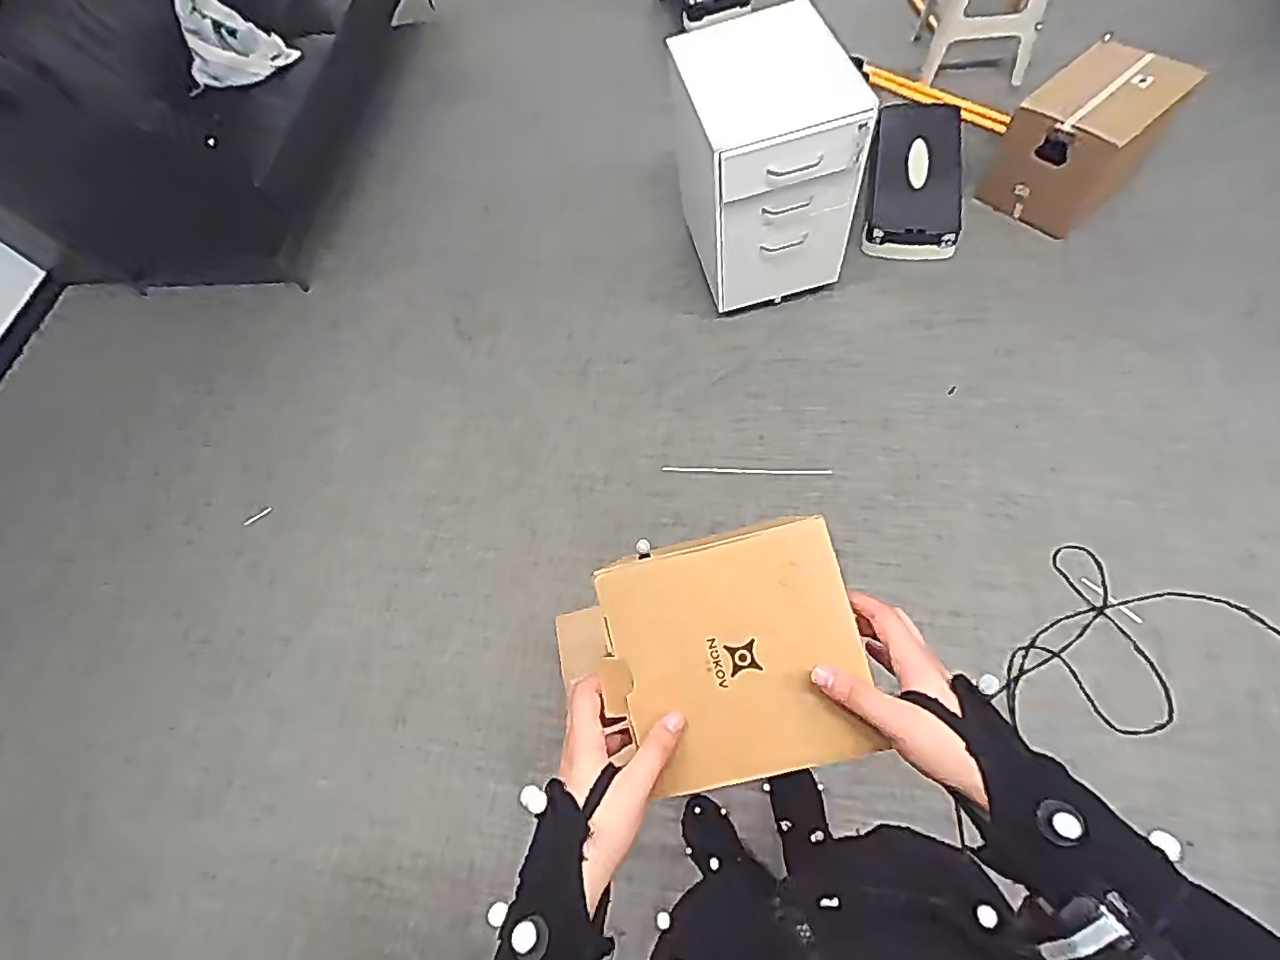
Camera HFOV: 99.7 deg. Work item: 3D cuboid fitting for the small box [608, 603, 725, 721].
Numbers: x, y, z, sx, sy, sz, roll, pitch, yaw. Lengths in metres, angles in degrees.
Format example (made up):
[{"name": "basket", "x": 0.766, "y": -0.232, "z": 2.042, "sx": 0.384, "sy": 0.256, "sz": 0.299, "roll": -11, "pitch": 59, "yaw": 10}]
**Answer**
[{"name": "small box", "x": 0.054, "y": 0.344, "z": 1.004, "sx": 0.179, "sy": 0.176, "sz": 0.168, "roll": -15, "pitch": 64, "yaw": 3}]
